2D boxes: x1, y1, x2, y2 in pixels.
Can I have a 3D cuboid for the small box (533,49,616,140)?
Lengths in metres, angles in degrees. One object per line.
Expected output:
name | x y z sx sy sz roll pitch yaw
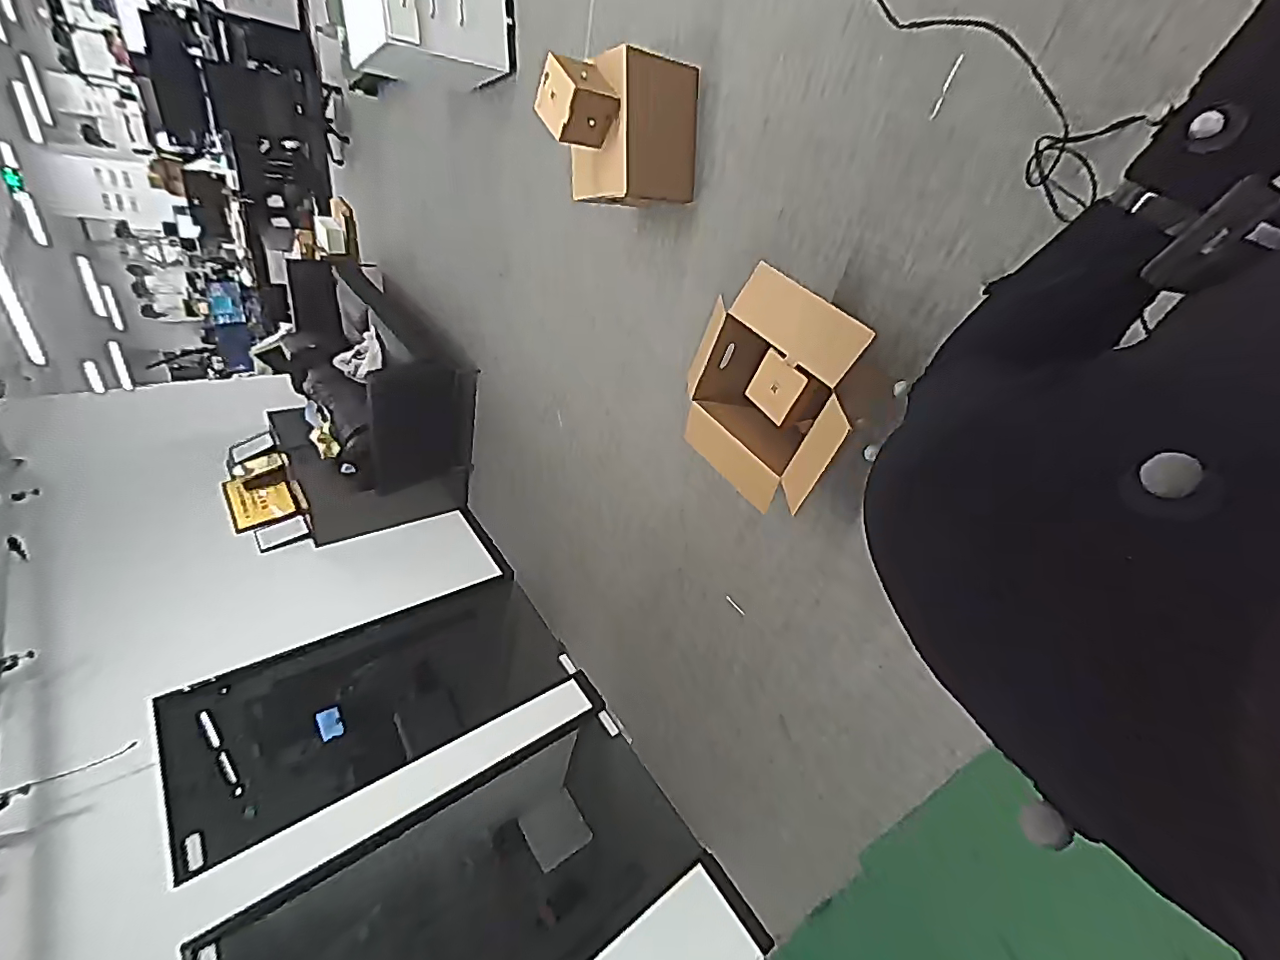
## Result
small box | -0.201 -1.194 1.688 0.179 0.176 0.168 58 140 16
